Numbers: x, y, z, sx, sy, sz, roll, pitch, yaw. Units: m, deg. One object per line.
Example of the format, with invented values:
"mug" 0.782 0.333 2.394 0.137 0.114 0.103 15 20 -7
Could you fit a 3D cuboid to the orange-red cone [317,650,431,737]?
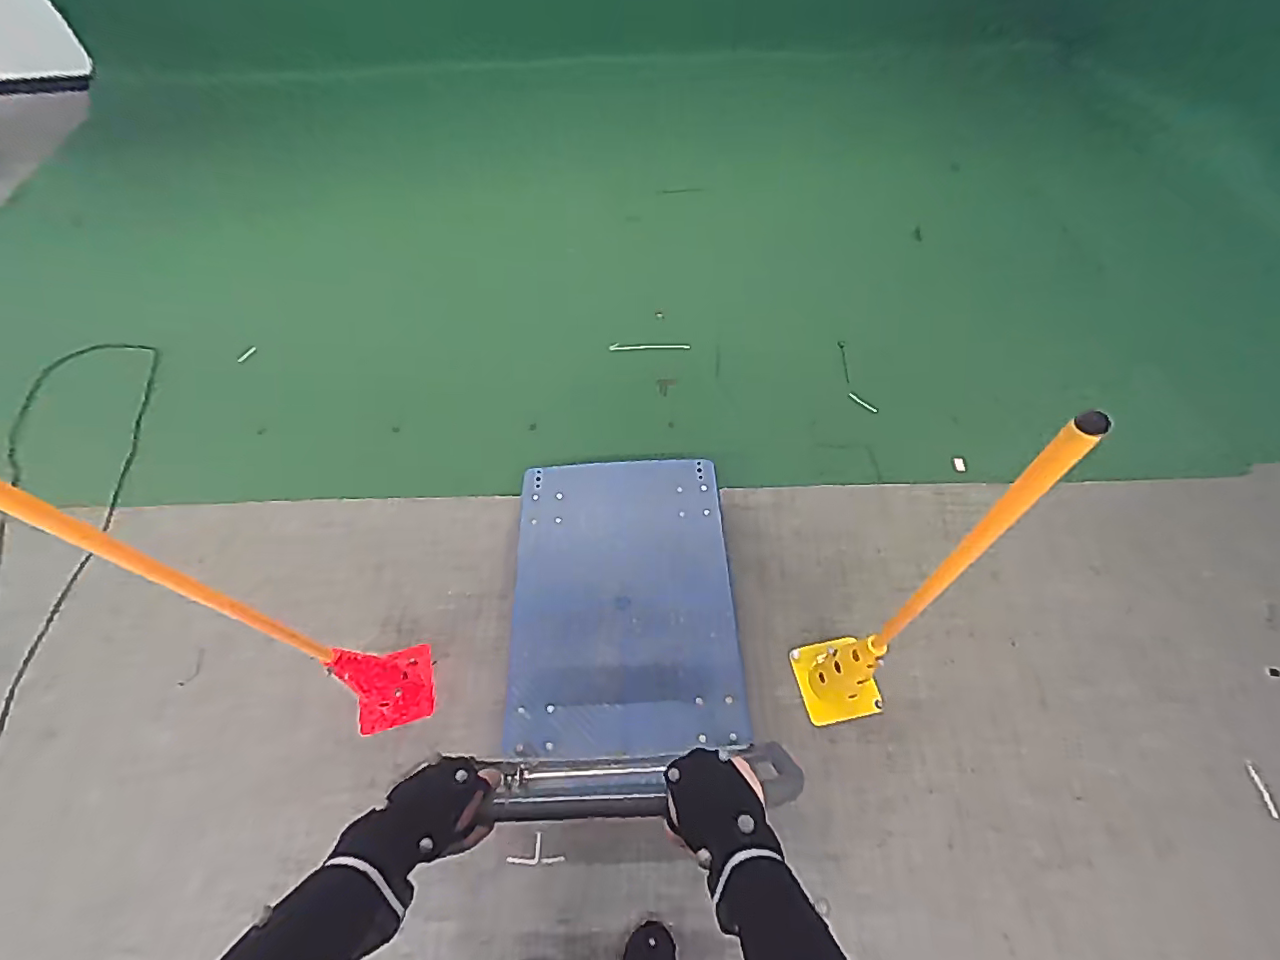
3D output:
"orange-red cone" -0.673 0.482 1.313 0.199 0.360 0.198 -15 58 -5
